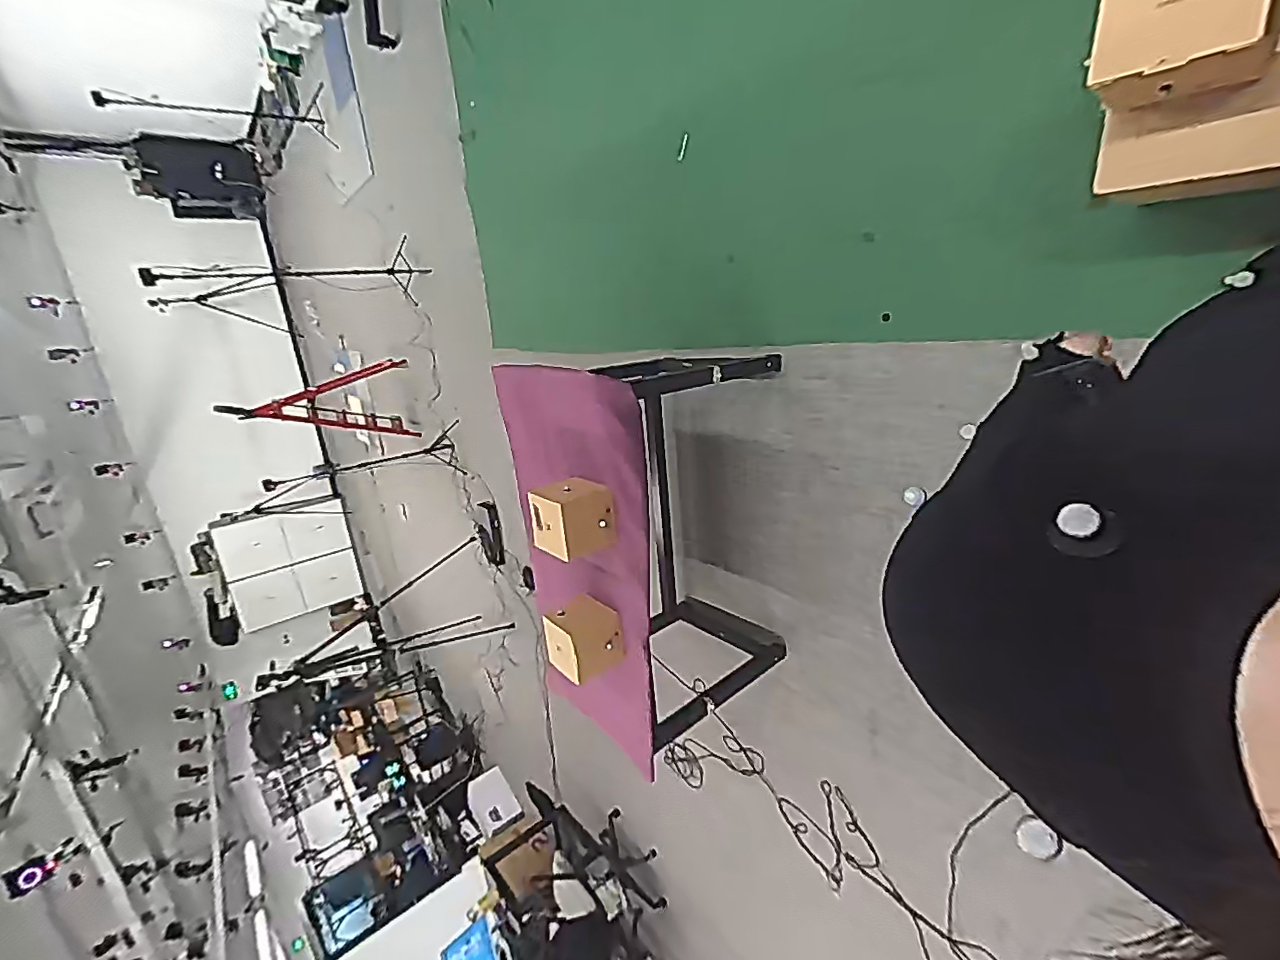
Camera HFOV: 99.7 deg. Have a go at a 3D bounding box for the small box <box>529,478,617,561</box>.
[{"bbox_3d":[-0.183,0.101,1.486,0.179,0.176,0.168,15,116,49],"label":"small box"}]

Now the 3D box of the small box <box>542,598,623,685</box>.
[{"bbox_3d":[-0.170,0.472,1.620,0.179,0.176,0.168,14,116,51],"label":"small box"}]

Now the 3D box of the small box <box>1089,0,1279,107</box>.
[{"bbox_3d":[0.728,-0.627,0.710,0.168,0.176,0.179,17,117,48],"label":"small box"}]

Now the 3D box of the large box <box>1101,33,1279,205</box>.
[{"bbox_3d":[0.986,-0.617,0.790,0.408,0.320,0.320,16,117,48],"label":"large box"}]
